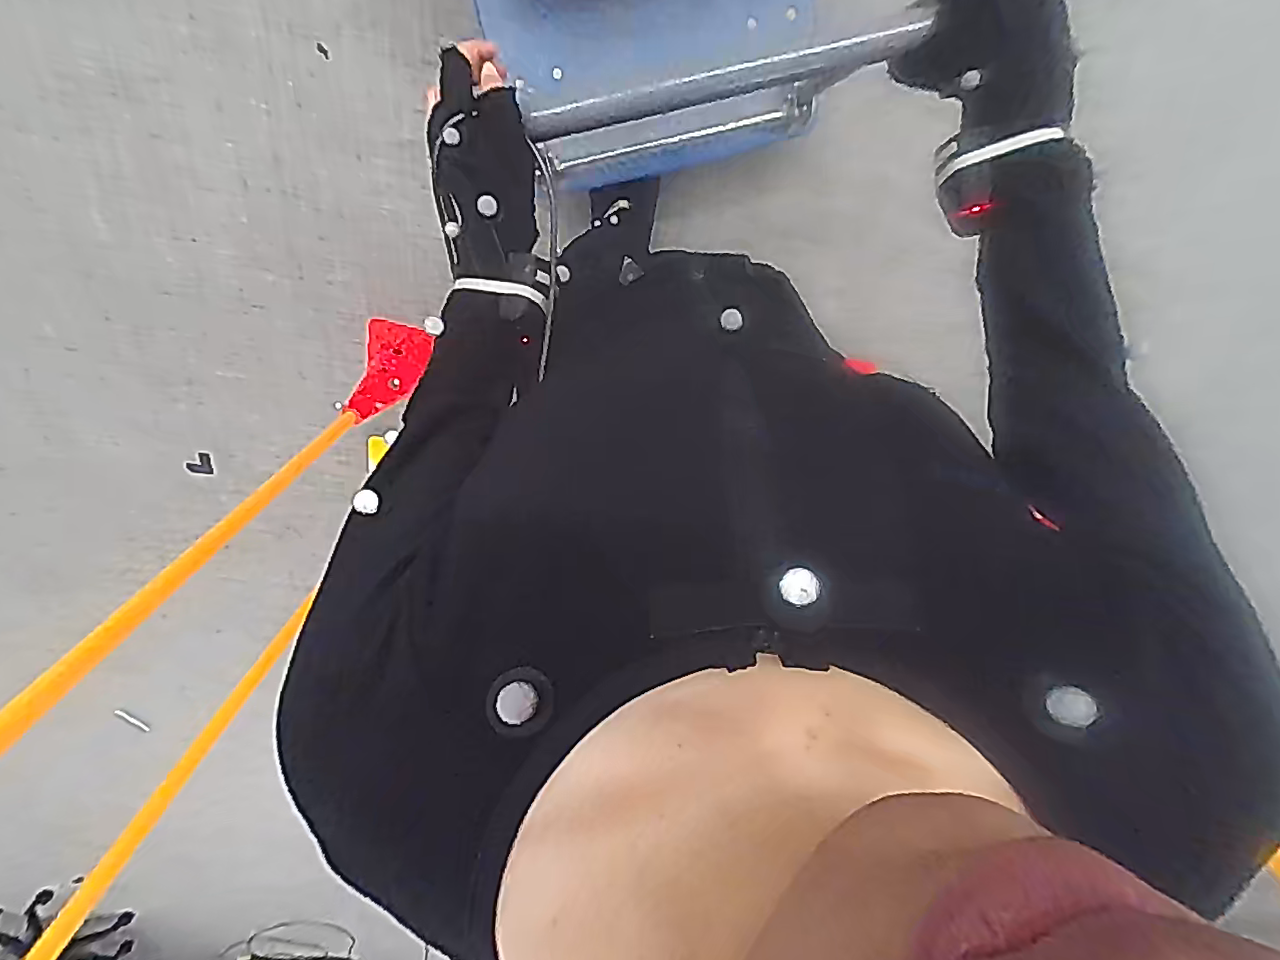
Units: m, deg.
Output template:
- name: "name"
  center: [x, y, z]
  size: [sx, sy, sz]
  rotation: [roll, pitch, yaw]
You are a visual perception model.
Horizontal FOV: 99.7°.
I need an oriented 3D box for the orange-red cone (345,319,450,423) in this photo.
- name: "orange-red cone"
  center: [-0.592, -0.219, 1.249]
  size: [0.198, 0.360, 0.199]
  rotation: [13, 117, -11]
